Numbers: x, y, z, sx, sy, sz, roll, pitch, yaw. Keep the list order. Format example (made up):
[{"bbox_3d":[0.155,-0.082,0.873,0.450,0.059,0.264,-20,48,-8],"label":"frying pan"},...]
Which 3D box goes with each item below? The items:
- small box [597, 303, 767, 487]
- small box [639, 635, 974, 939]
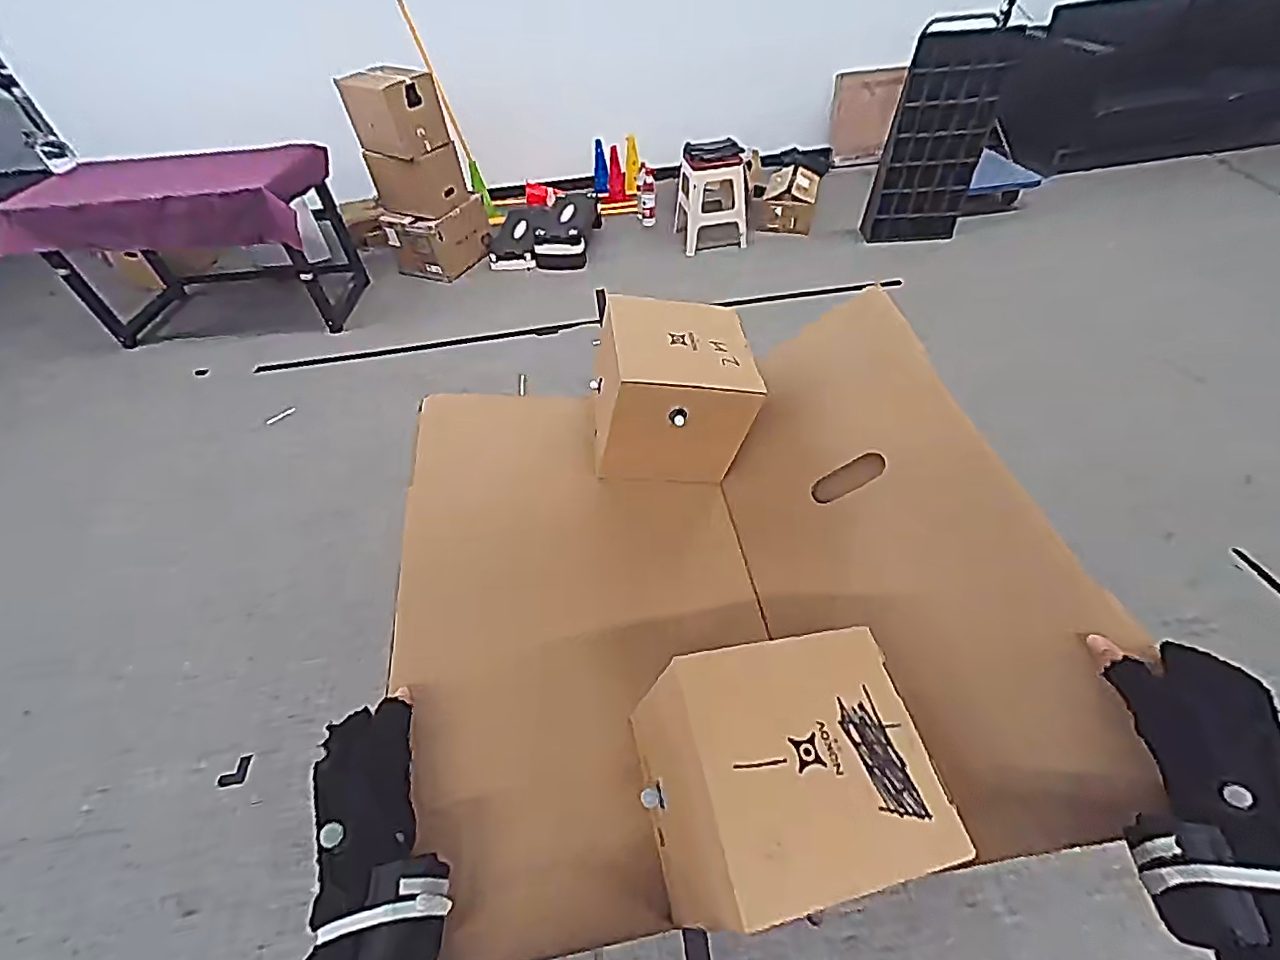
[{"bbox_3d":[0.039,-0.105,0.710,0.179,0.176,0.168,3,51,-13],"label":"small box"},{"bbox_3d":[0.112,0.246,0.446,0.179,0.176,0.168,-4,54,-16],"label":"small box"}]
